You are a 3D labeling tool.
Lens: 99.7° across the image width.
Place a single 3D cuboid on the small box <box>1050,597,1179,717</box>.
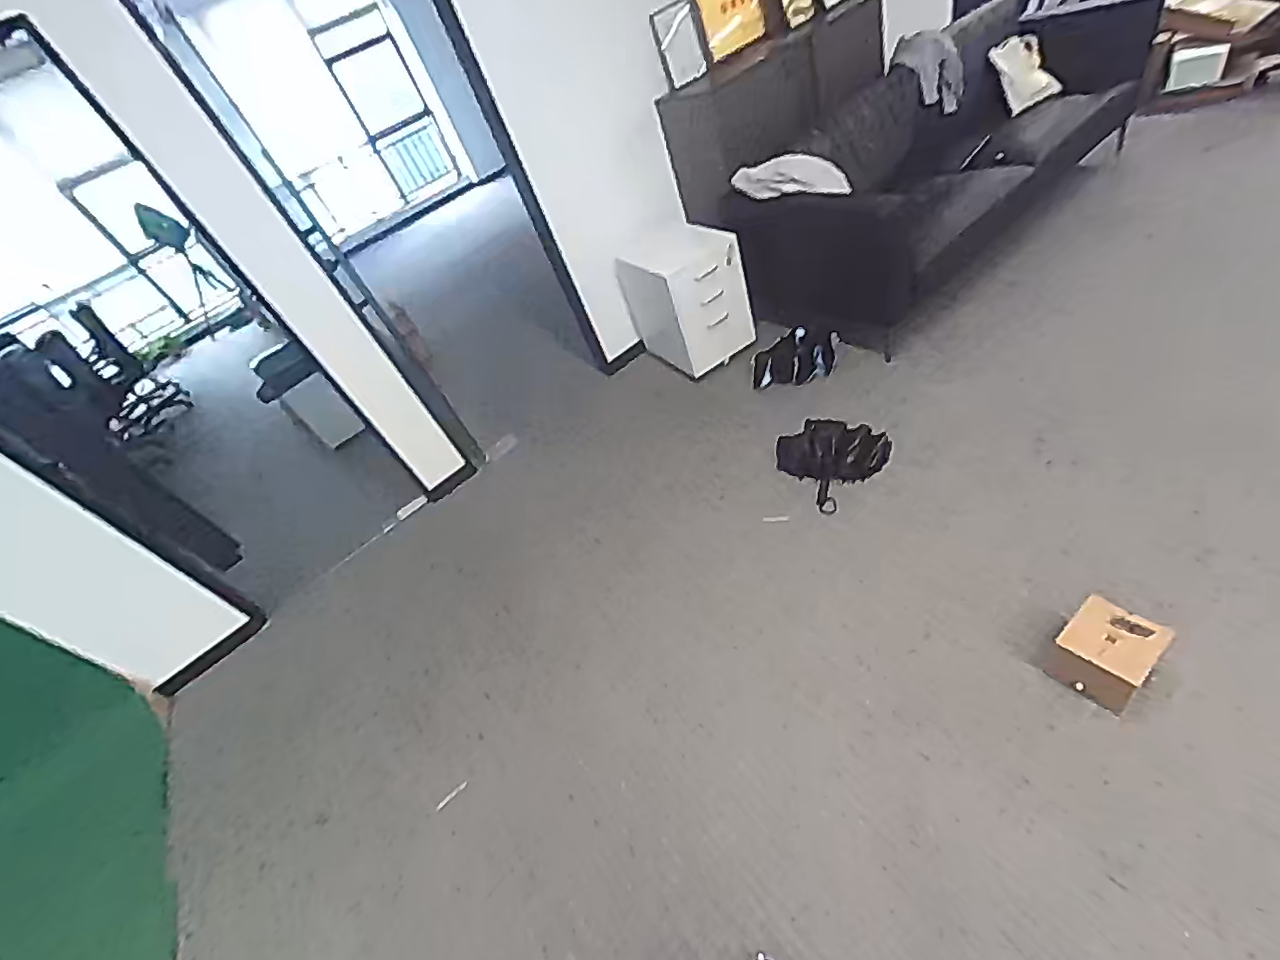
[{"bbox_3d":[1.118,0.422,1.290,0.179,0.176,0.168,-40,43,-15],"label":"small box"}]
